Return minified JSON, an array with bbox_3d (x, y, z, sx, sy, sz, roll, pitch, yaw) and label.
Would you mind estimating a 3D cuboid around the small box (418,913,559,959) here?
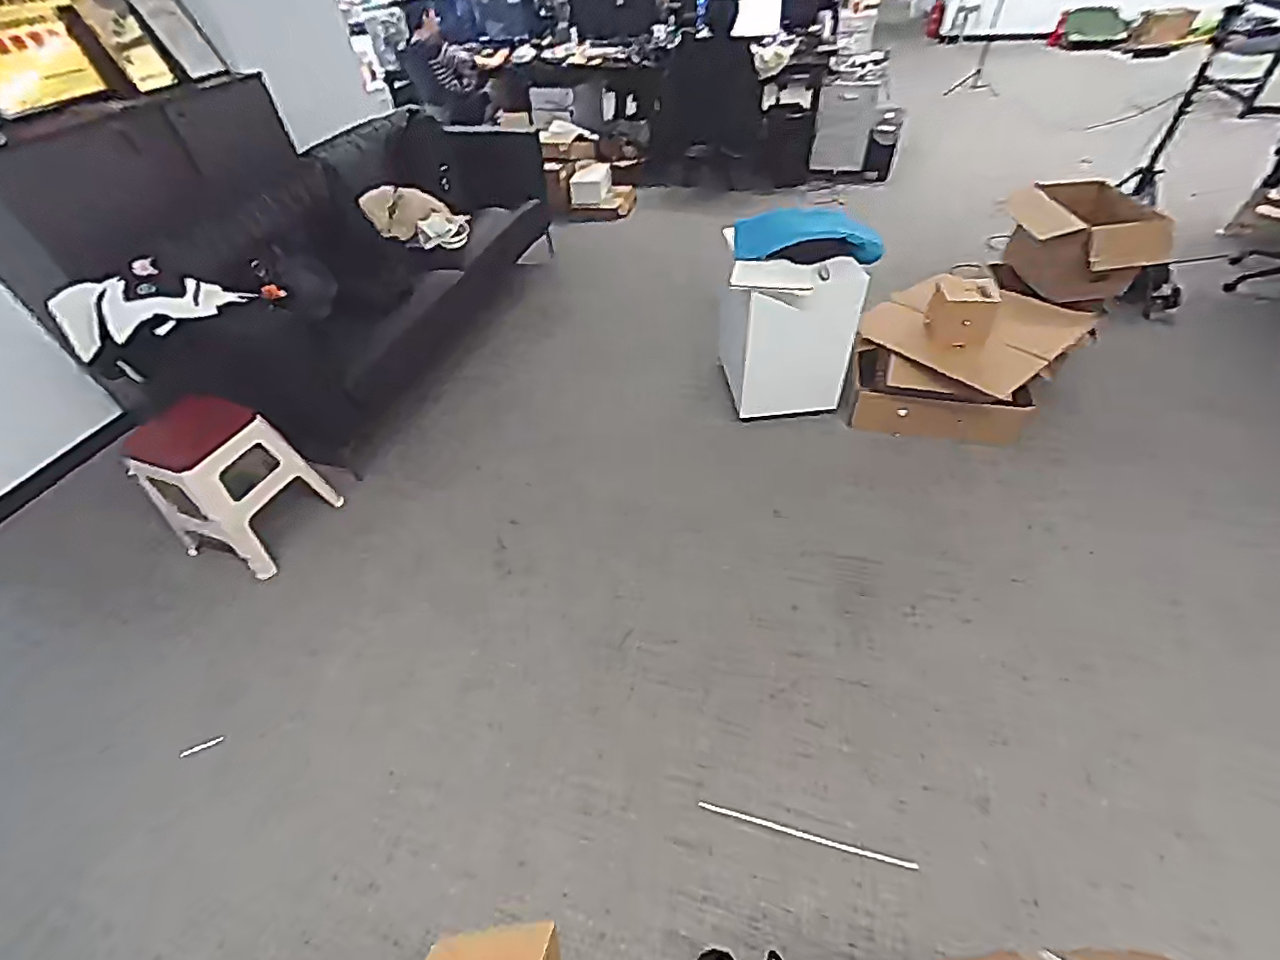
[{"bbox_3d":[-0.190,0.670,0.643,0.168,0.179,0.176,-10,83,3],"label":"small box"}]
